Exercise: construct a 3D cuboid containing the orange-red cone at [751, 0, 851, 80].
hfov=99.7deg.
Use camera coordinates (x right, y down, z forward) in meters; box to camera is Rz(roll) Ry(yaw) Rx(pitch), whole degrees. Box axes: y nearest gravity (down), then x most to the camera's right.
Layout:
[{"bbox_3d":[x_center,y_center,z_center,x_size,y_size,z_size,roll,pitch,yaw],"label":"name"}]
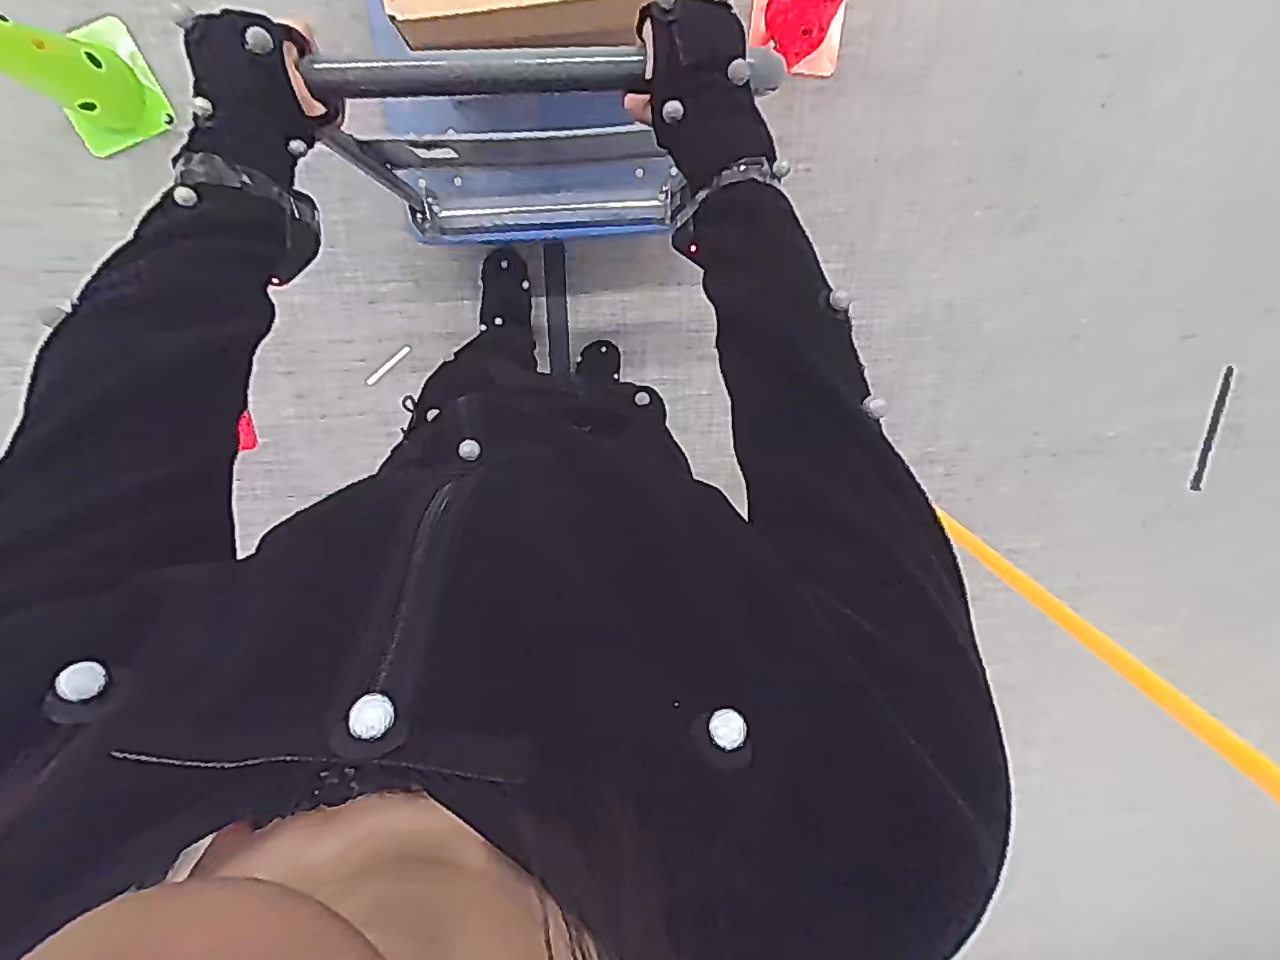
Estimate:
[{"bbox_3d":[0.359,-0.918,0.985,0.199,0.360,0.198,3,109,-7],"label":"orange-red cone"}]
